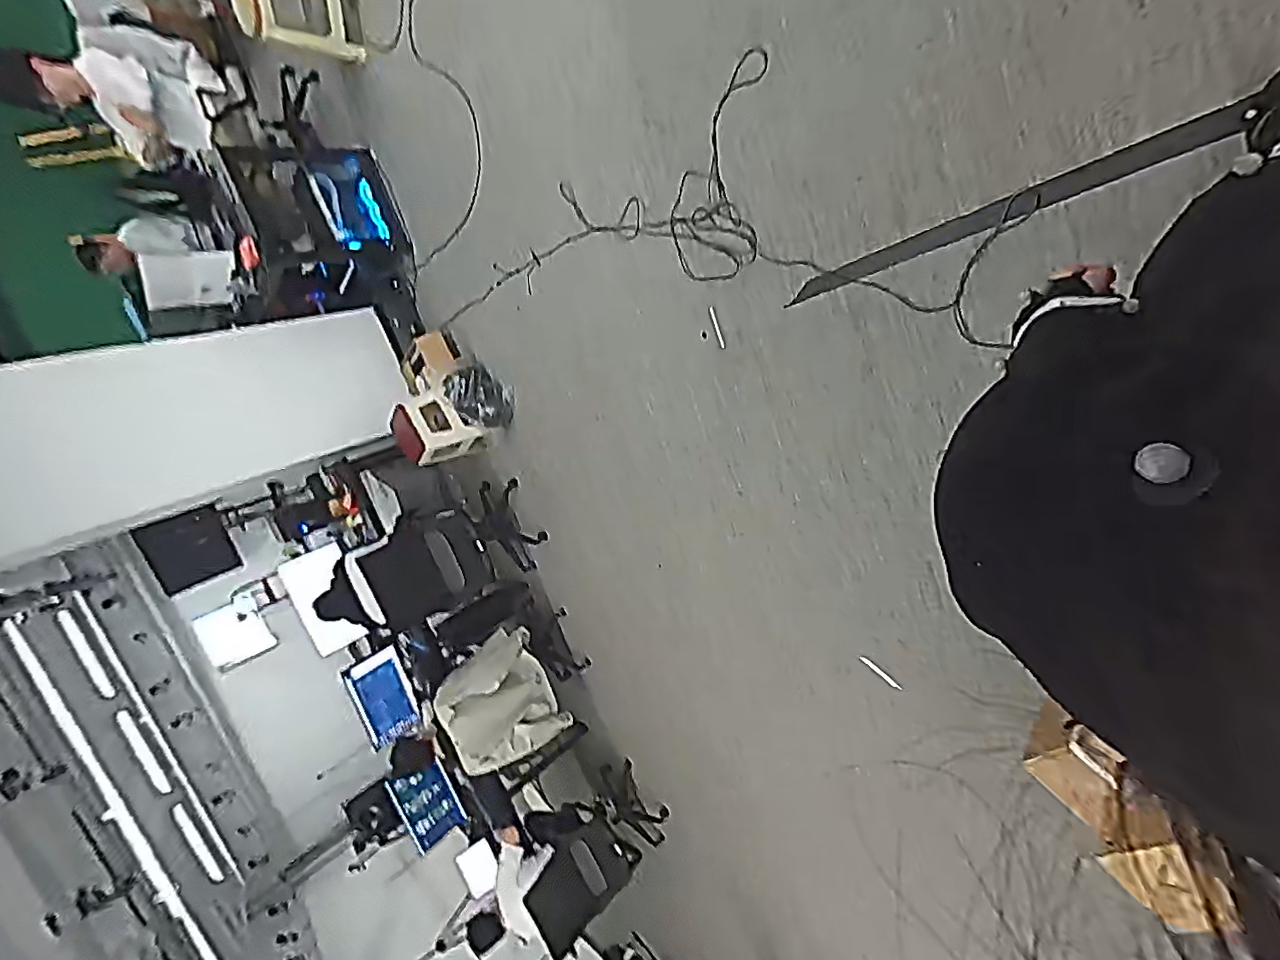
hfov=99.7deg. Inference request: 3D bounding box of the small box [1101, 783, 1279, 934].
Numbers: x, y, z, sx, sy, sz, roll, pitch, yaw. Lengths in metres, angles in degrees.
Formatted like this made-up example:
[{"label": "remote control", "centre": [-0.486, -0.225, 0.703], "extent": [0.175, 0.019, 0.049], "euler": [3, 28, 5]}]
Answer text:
[{"label": "small box", "centre": [1.056, 0.728, 1.050], "extent": [0.168, 0.176, 0.179], "euler": [45, 139, 21]}]
